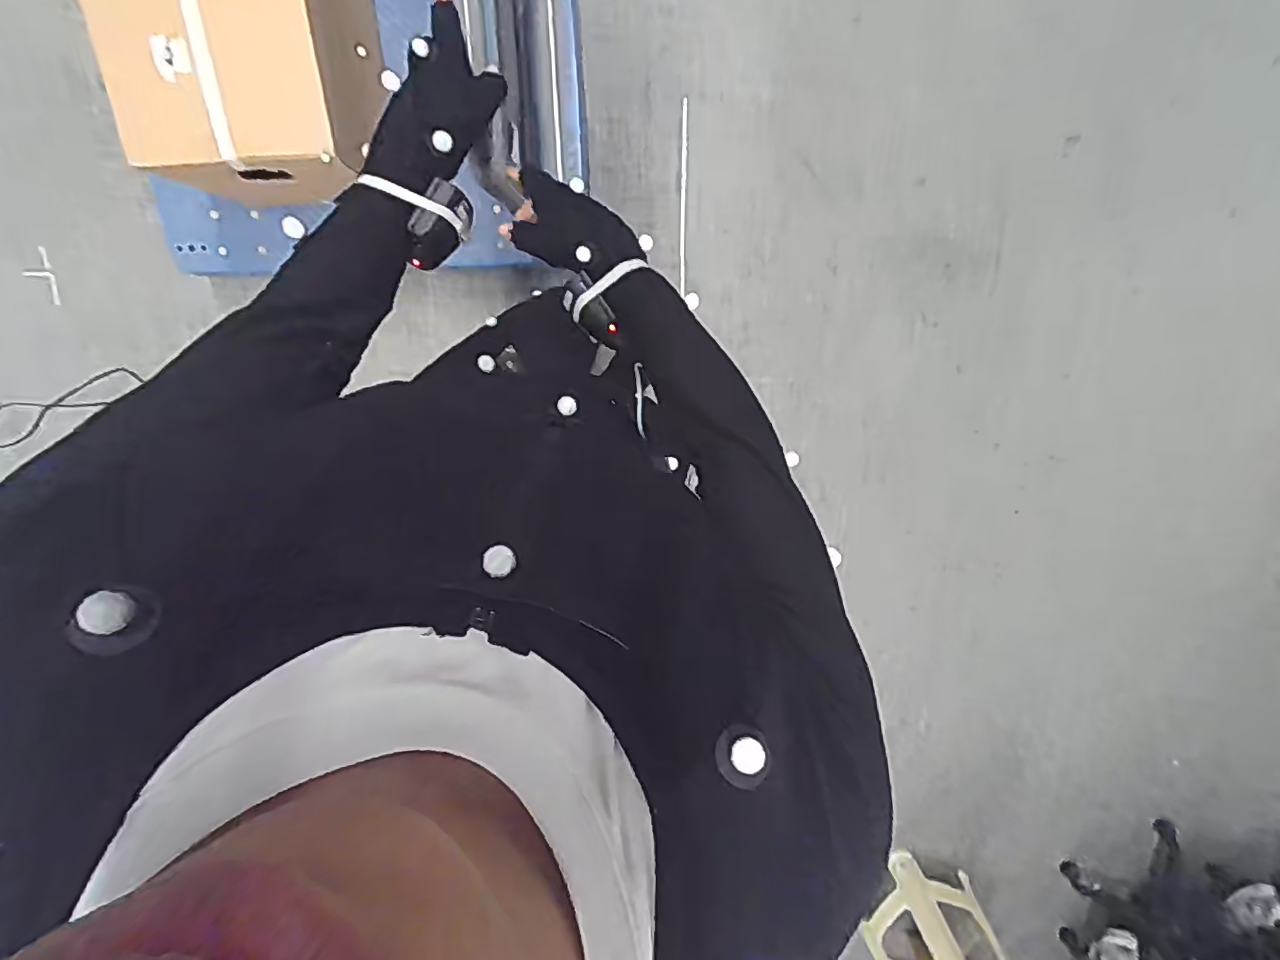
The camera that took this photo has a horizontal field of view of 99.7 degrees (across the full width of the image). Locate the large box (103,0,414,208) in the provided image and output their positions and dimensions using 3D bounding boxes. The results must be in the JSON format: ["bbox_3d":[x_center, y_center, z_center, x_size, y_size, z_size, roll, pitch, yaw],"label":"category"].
[{"bbox_3d":[-0.626,-0.722,0.928,0.320,0.320,0.408,-5,107,-1],"label":"large box"}]
